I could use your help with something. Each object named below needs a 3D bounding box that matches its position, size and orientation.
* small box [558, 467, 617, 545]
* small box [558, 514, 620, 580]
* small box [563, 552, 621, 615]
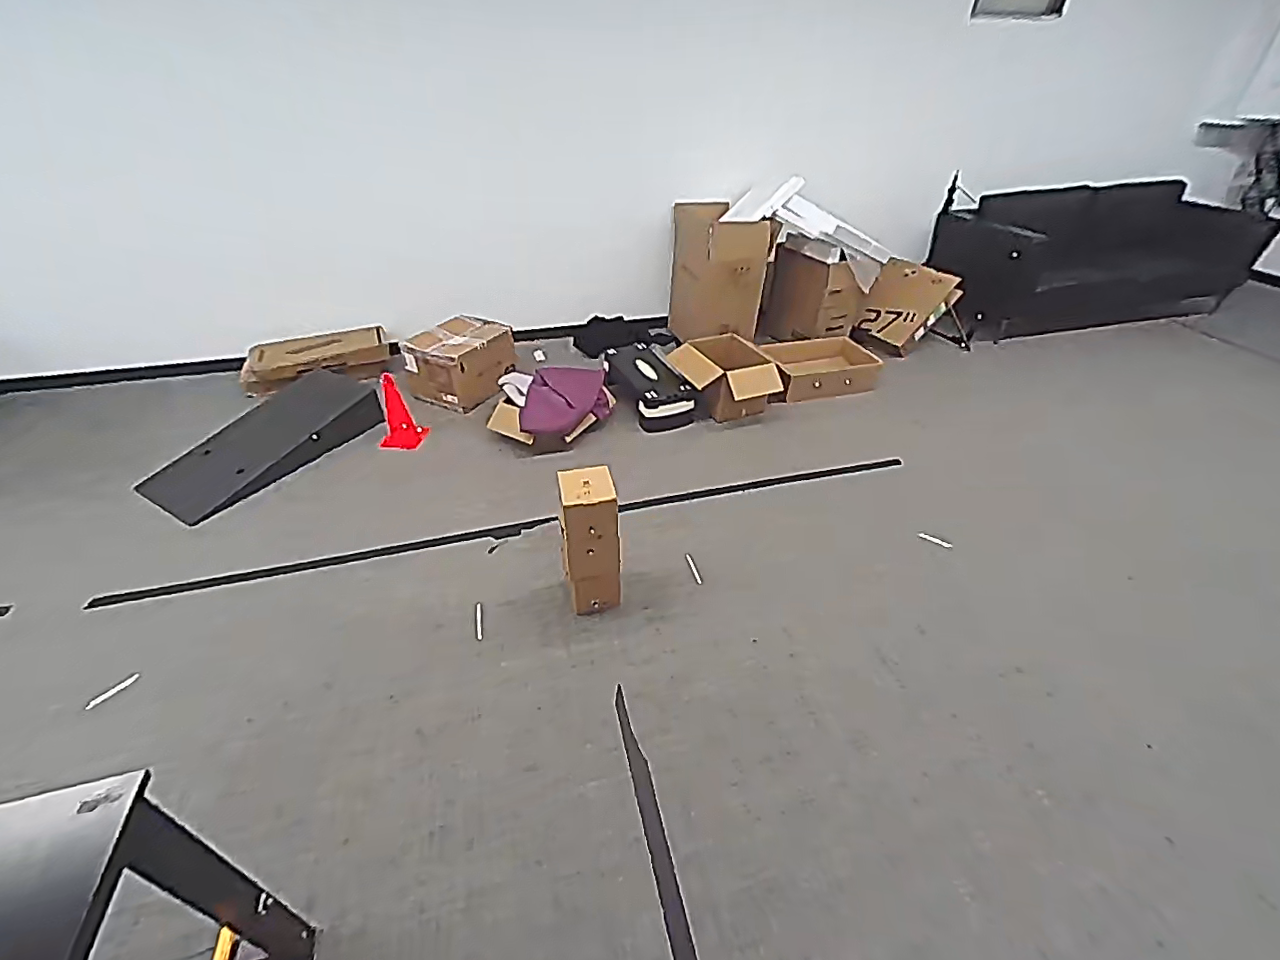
[{"bbox_3d":[-0.169,0.081,1.722,0.168,0.176,0.179,-8,39,-10],"label":"small box"},{"bbox_3d":[-0.172,0.214,1.820,0.179,0.176,0.168,-10,39,-13],"label":"small box"},{"bbox_3d":[-0.172,0.345,1.920,0.168,0.176,0.179,-13,41,-16],"label":"small box"}]
